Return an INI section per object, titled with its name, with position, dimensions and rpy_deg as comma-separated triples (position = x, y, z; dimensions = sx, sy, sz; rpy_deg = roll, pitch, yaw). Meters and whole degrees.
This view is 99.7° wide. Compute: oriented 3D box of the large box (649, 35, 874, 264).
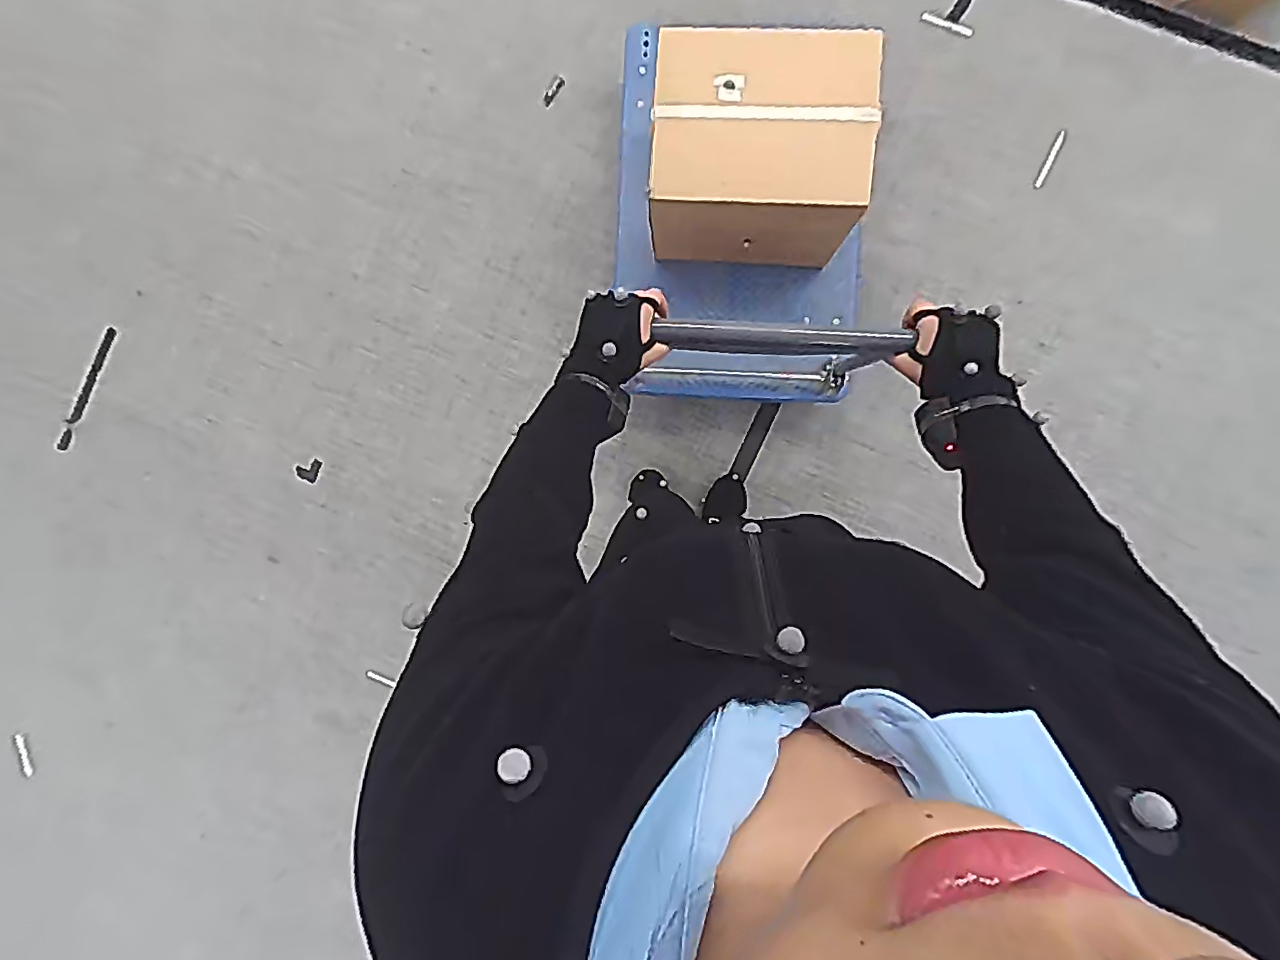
[large box]
position = 0.237, -0.668, 1.148
dimensions = 0.408, 0.320, 0.320
rpy_deg = 4, 91, 5
